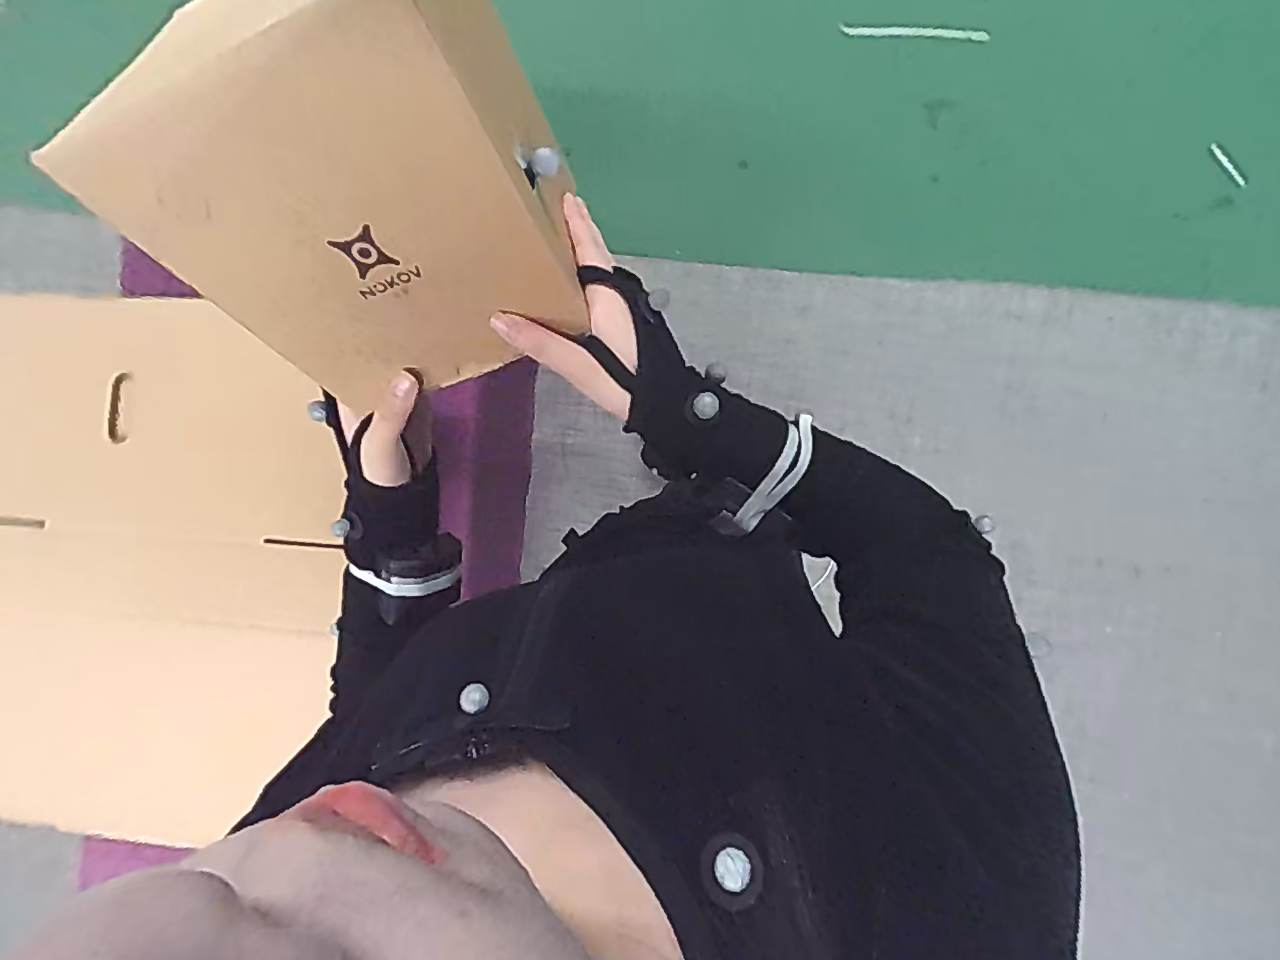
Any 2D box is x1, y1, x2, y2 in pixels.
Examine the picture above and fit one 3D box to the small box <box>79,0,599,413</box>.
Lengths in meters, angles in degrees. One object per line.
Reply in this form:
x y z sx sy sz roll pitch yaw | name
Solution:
-0.138 -0.174 0.315 0.168 0.179 0.176 -16 58 11 | small box
